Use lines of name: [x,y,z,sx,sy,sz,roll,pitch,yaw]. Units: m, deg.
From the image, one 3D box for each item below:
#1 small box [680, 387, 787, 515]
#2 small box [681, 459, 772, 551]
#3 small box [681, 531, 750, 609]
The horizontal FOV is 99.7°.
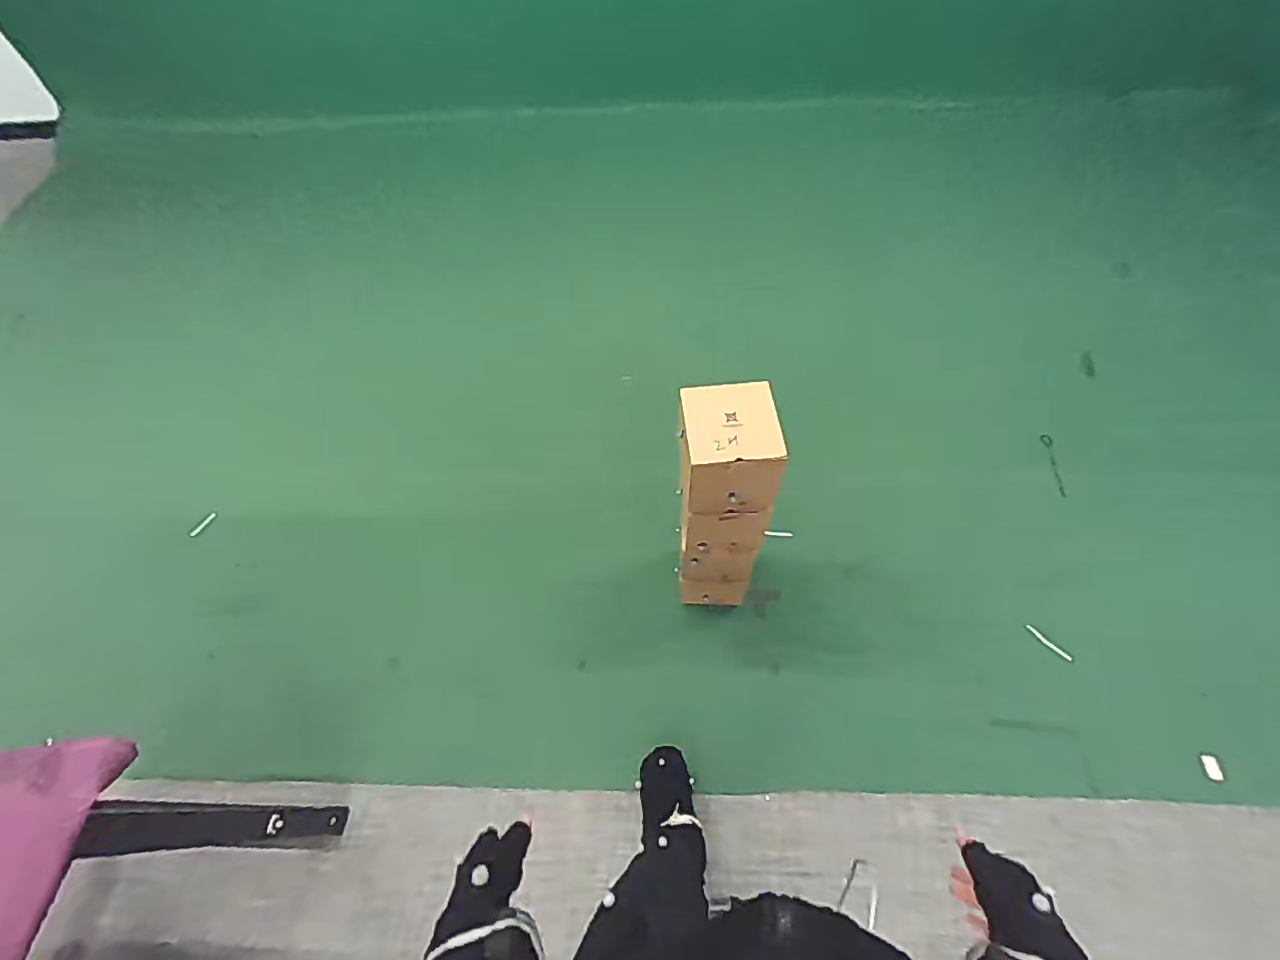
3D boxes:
small box: [0.167,-0.052,1.029,0.168,0.176,0.179,-5,58,0]
small box: [0.177,0.043,1.163,0.168,0.176,0.179,-4,57,0]
small box: [0.195,0.229,1.435,0.168,0.176,0.179,0,59,4]
